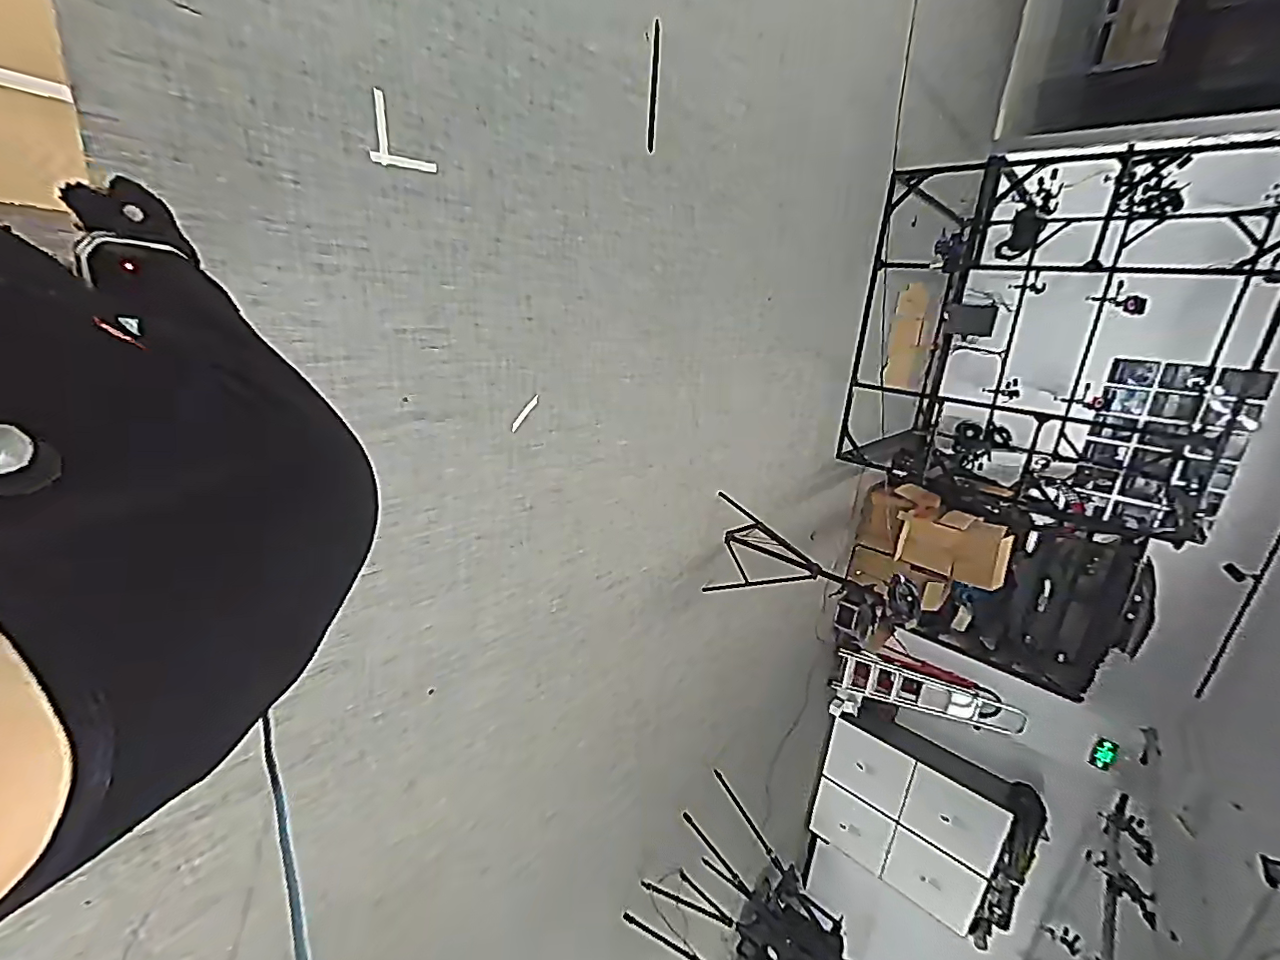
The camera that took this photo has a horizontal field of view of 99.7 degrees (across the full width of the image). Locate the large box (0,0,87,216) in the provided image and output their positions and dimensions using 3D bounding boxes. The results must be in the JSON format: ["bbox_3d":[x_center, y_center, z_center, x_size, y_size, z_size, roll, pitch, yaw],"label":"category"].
[{"bbox_3d":[-1.064,-0.556,0.714,0.408,0.320,0.320,-15,116,-48],"label":"large box"}]
